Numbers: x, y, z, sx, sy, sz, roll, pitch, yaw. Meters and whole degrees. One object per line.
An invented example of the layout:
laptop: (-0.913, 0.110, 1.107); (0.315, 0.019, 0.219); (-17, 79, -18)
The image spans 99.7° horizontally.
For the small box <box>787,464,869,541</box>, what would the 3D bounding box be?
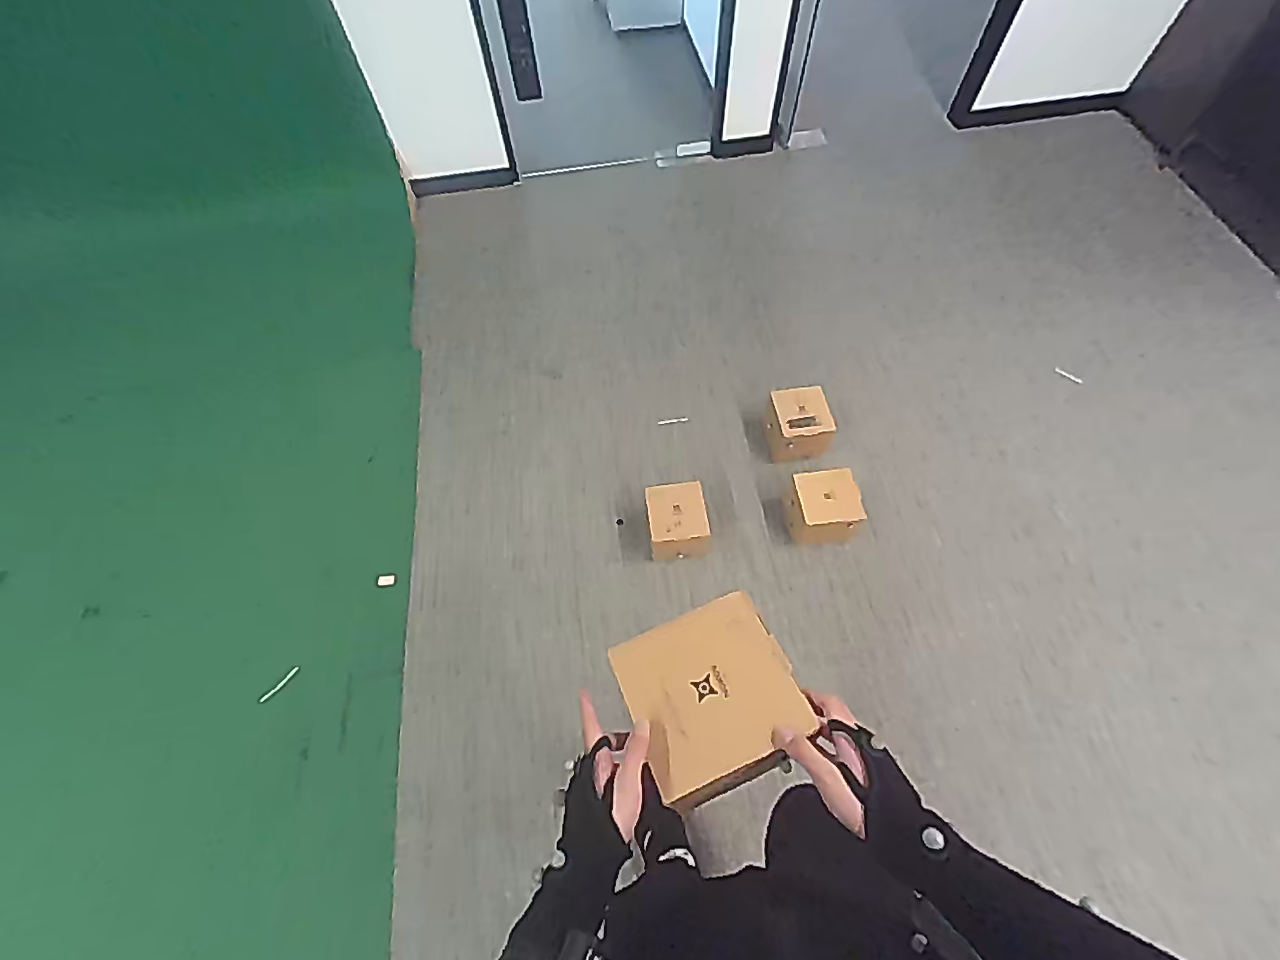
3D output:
small box: (0.545, 0.071, 1.597); (0.179, 0.176, 0.168); (-6, 62, -2)

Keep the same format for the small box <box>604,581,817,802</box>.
small box: (0.078, 0.249, 0.626); (0.179, 0.176, 0.168); (-23, 54, -3)

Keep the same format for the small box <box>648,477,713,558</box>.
small box: (0.112, 0.113, 1.588); (0.168, 0.176, 0.179); (-7, 62, -1)
